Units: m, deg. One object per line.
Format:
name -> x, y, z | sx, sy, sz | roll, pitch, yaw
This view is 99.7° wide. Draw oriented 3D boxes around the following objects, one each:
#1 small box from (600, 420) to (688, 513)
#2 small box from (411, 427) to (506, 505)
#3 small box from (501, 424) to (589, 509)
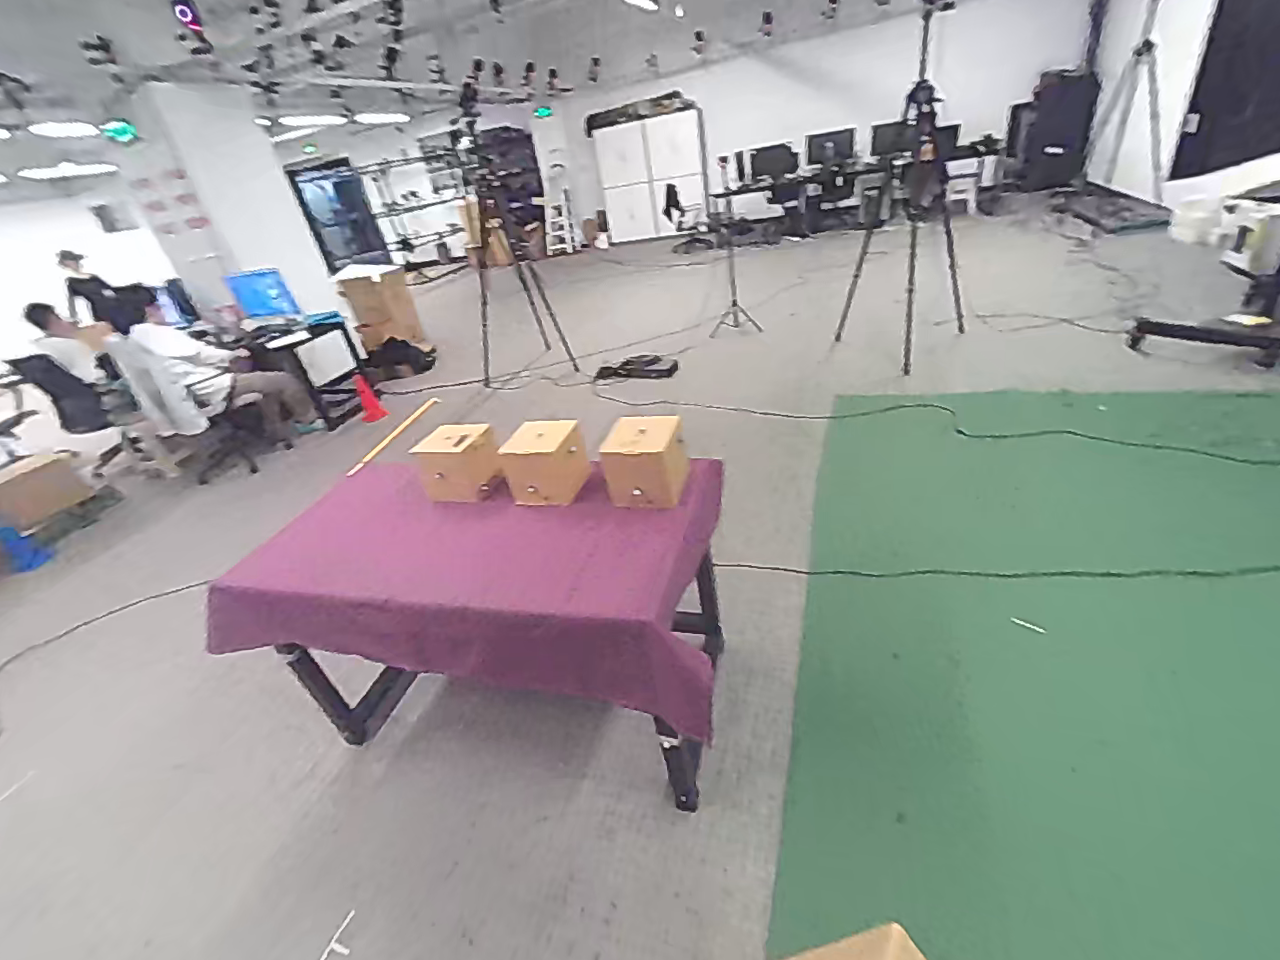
small box -> 0.019, -0.037, 1.377 | 0.168, 0.176, 0.179 | 1, 36, 22
small box -> -0.518, -0.040, 1.572 | 0.179, 0.176, 0.168 | 1, 33, 21
small box -> -0.250, -0.039, 1.483 | 0.168, 0.176, 0.179 | 0, 34, 19
